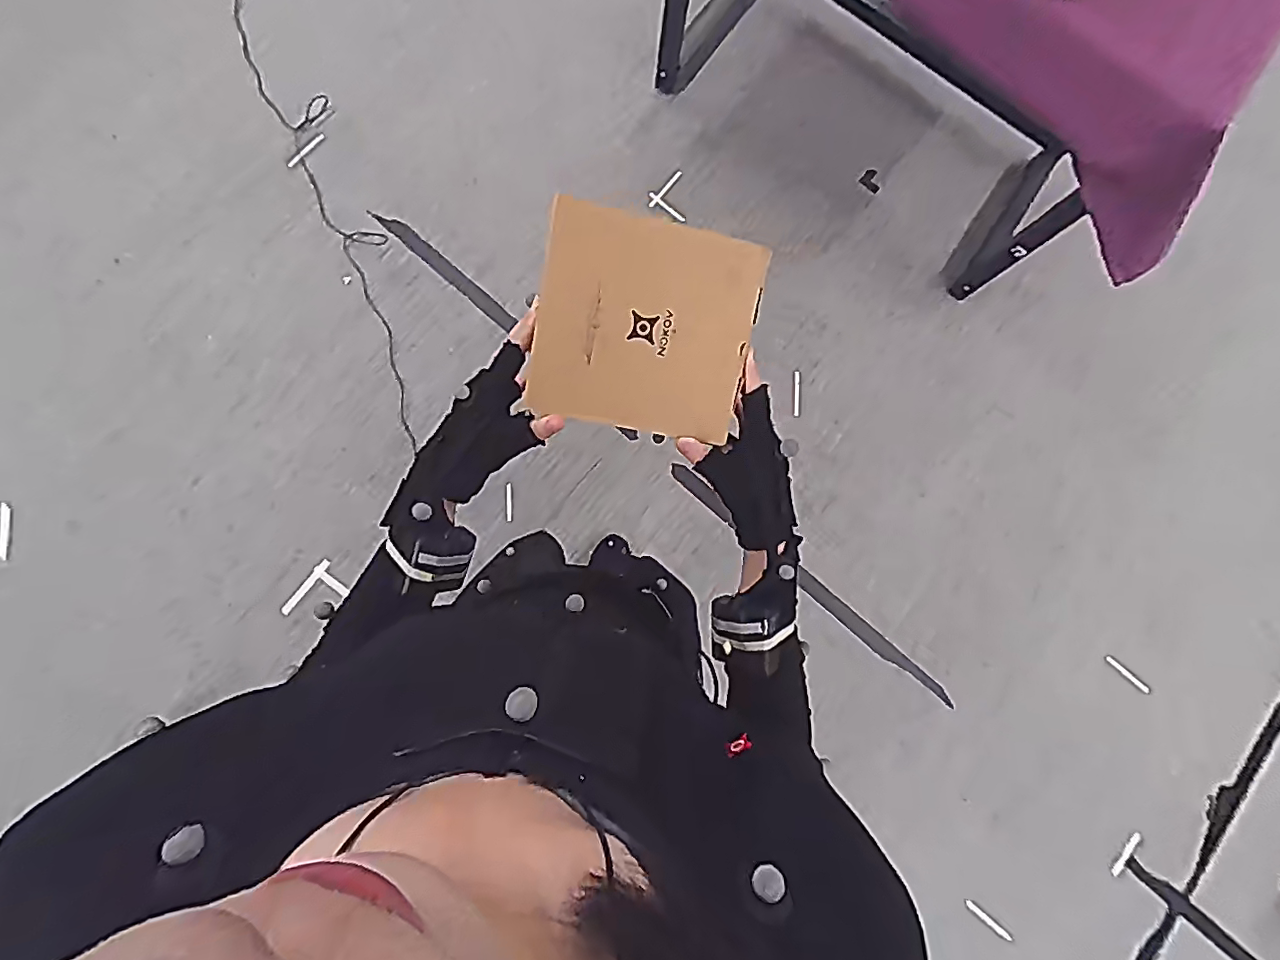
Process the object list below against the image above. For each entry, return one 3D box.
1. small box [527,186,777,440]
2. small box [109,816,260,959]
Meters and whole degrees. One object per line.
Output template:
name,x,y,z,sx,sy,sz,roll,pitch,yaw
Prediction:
small box,-0.002,-0.141,0.500,0.179,0.176,0.168,9,100,-10
small box,-1.018,0.920,1.236,0.168,0.176,0.179,42,80,1
